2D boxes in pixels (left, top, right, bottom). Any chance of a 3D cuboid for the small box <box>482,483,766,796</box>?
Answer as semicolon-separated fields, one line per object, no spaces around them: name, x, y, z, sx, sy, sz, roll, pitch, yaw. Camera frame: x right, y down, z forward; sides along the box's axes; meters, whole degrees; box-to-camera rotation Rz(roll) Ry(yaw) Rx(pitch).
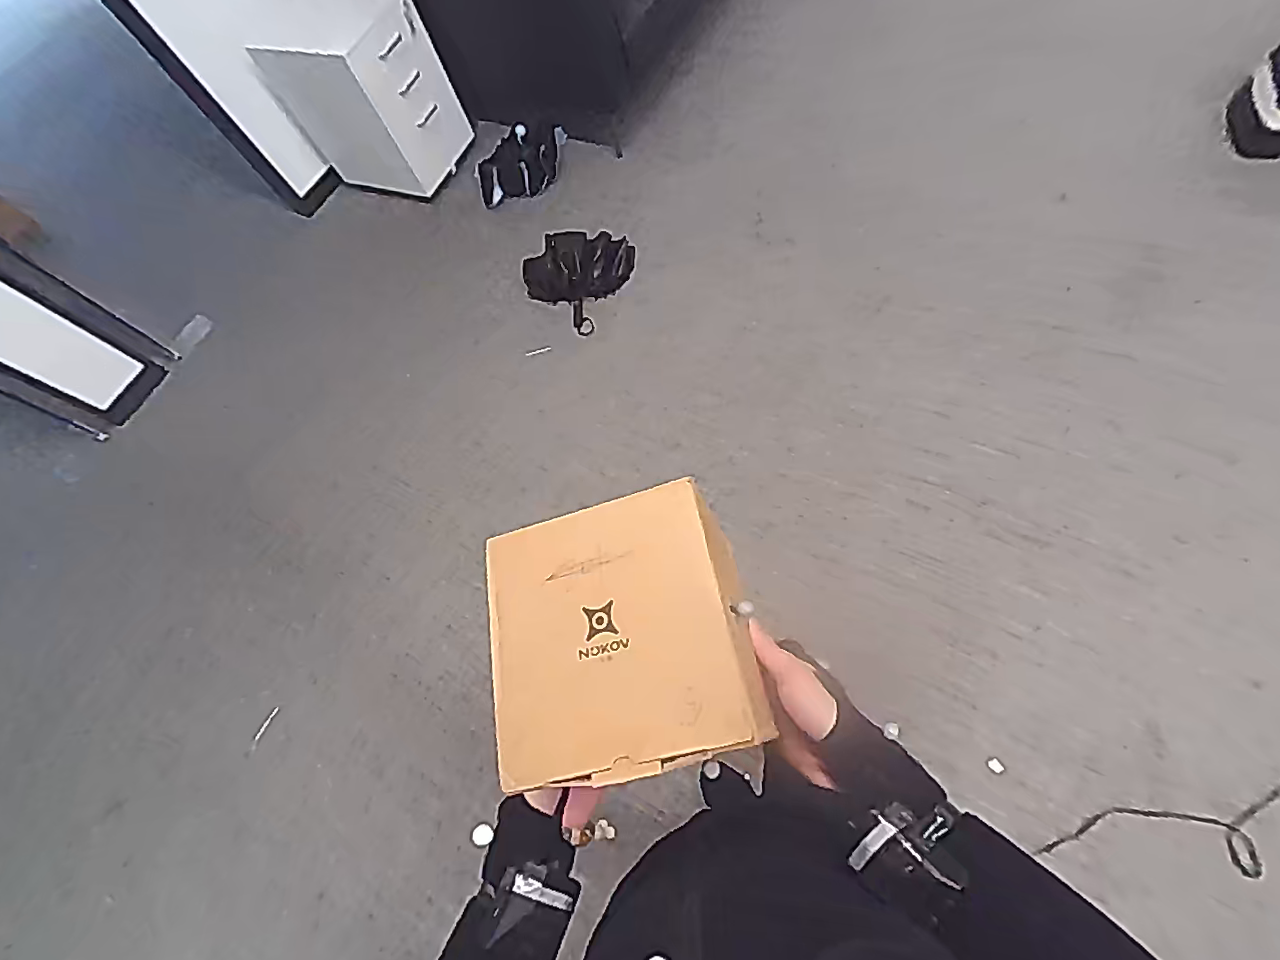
small box;-0.006;0.131;0.431;0.168;0.176;0.179;-18;62;11
